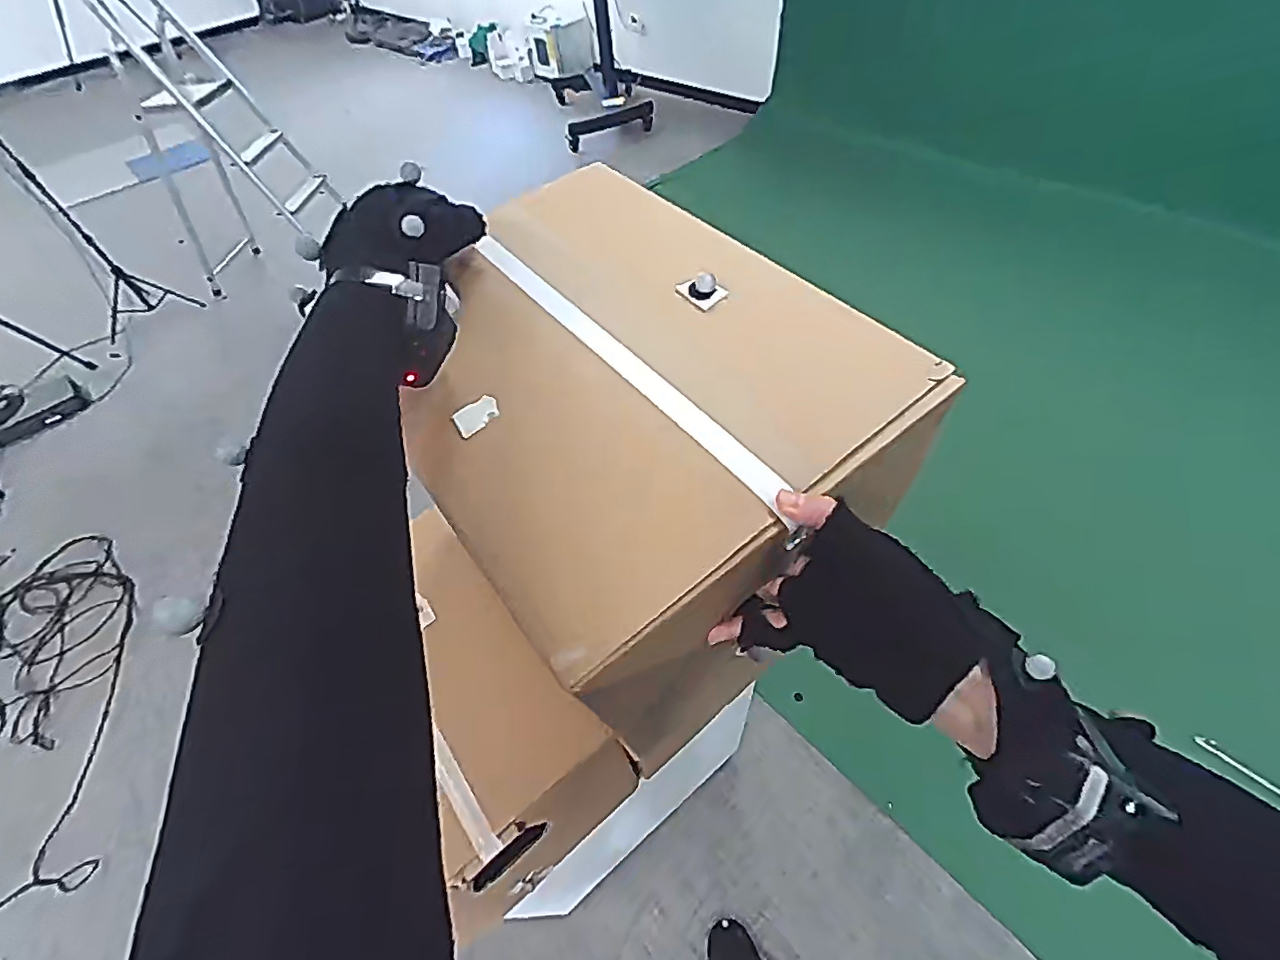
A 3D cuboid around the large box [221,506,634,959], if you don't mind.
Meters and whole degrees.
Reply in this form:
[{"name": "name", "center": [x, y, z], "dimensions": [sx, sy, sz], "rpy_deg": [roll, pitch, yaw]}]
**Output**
[{"name": "large box", "center": [-0.260, 0.320, 0.730], "dimensions": [0.320, 0.320, 0.408], "rpy_deg": [-35, 55, -21]}]
